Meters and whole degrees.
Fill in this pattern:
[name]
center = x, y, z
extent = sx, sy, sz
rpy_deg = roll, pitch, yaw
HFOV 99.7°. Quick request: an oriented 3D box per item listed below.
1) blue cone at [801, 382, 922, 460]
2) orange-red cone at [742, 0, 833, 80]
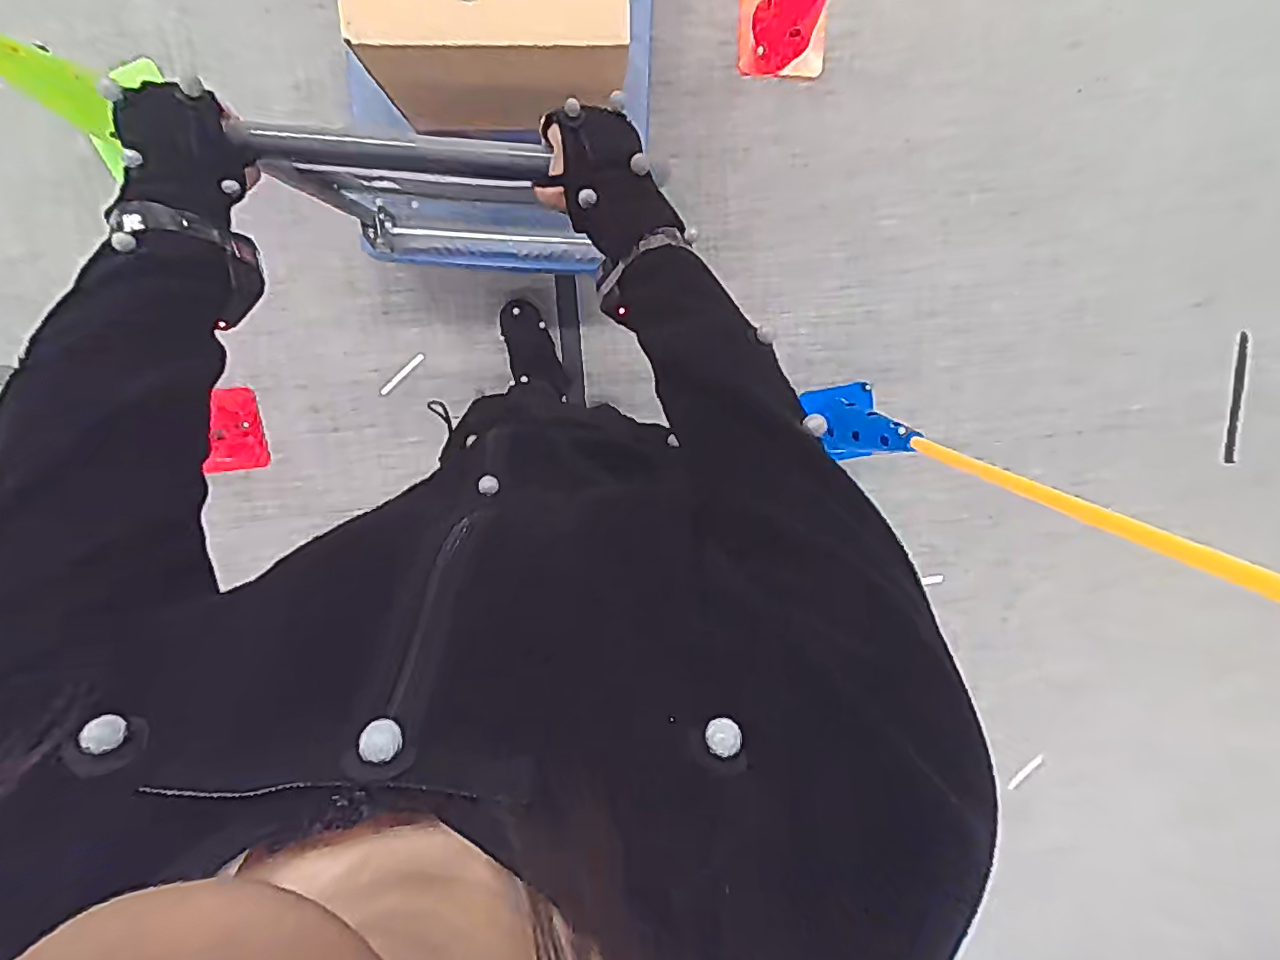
[blue cone]
center = 0.540, -0.122, 1.272
extent = 0.193, 0.380, 0.192
rpy_deg = -9, 102, -3
[orange-red cone]
center = 0.350, -0.986, 1.054
extent = 0.199, 0.360, 0.198
rpy_deg = 1, 103, -6
